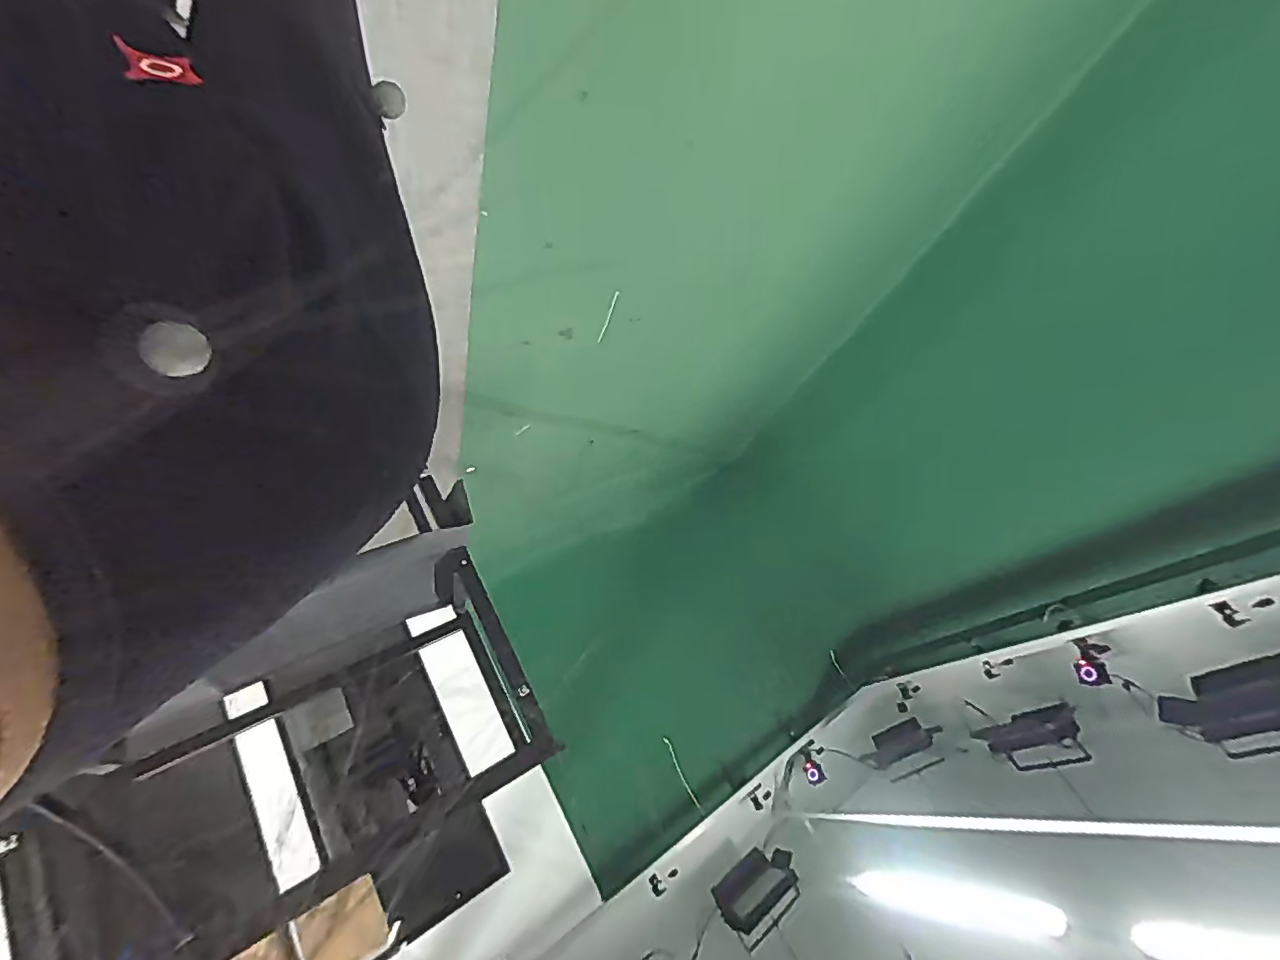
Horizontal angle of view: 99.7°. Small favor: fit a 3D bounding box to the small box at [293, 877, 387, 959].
[{"bbox_3d":[-0.766,1.159,1.391,0.168,0.176,0.179,-21,159,-31],"label":"small box"}]
